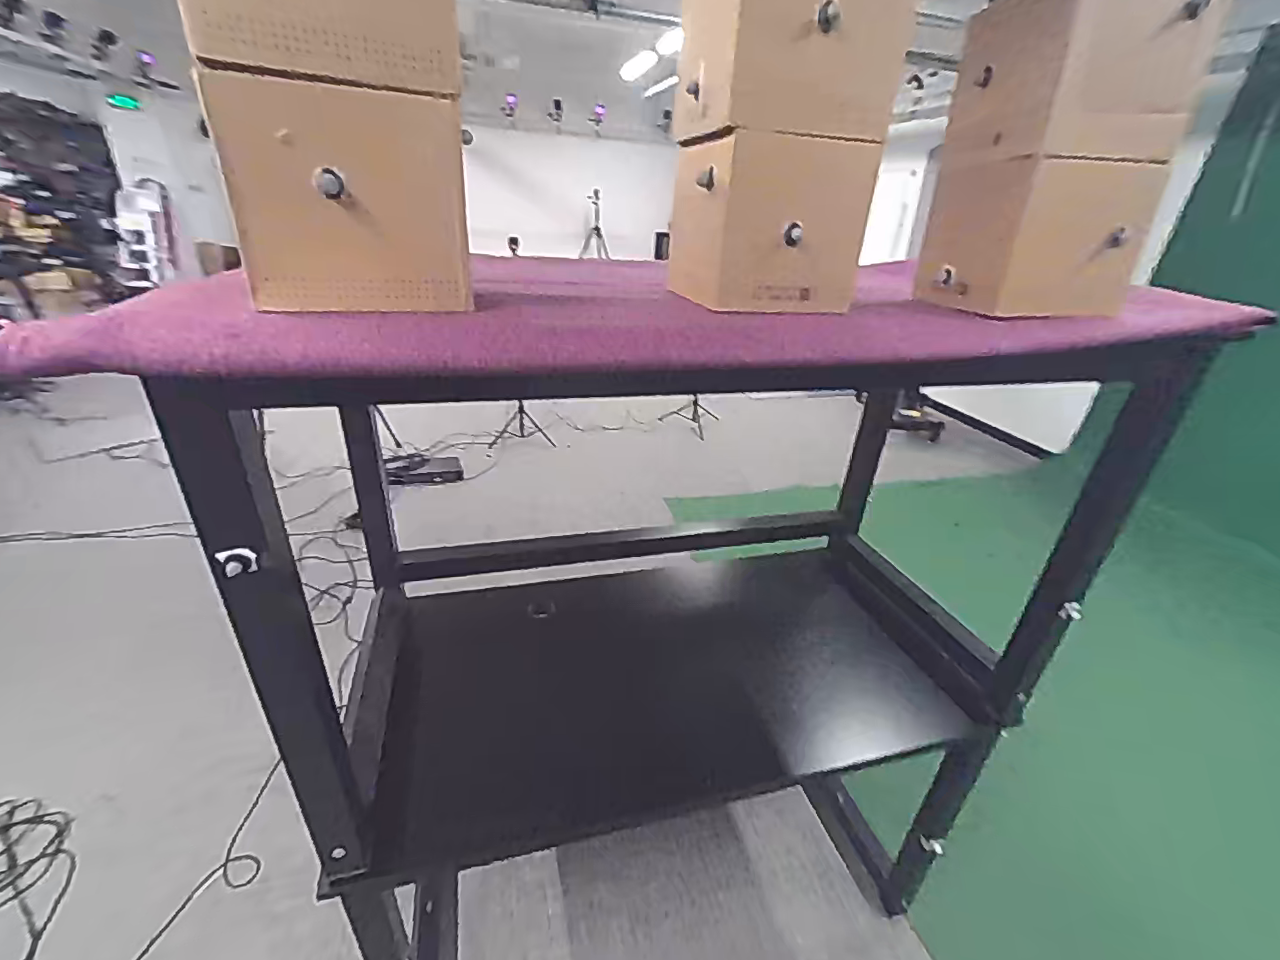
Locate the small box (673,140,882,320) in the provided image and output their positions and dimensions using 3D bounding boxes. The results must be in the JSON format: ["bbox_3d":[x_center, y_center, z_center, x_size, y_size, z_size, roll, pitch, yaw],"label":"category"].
[{"bbox_3d":[0.145,-0.288,0.637,0.168,0.176,0.179,-3,27,-15],"label":"small box"}]

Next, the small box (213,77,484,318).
[{"bbox_3d":[-0.250,-0.251,0.507,0.179,0.176,0.168,-7,30,-20],"label":"small box"}]

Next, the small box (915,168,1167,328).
[{"bbox_3d":[0.491,-0.294,0.693,0.179,0.176,0.168,-4,25,-10],"label":"small box"}]

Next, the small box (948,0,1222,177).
[{"bbox_3d":[0.492,-0.444,0.630,0.179,0.176,0.168,-1,24,-8],"label":"small box"}]

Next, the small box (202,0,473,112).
[{"bbox_3d":[-0.237,-0.397,0.431,0.179,0.176,0.168,-6,29,-22],"label":"small box"}]
